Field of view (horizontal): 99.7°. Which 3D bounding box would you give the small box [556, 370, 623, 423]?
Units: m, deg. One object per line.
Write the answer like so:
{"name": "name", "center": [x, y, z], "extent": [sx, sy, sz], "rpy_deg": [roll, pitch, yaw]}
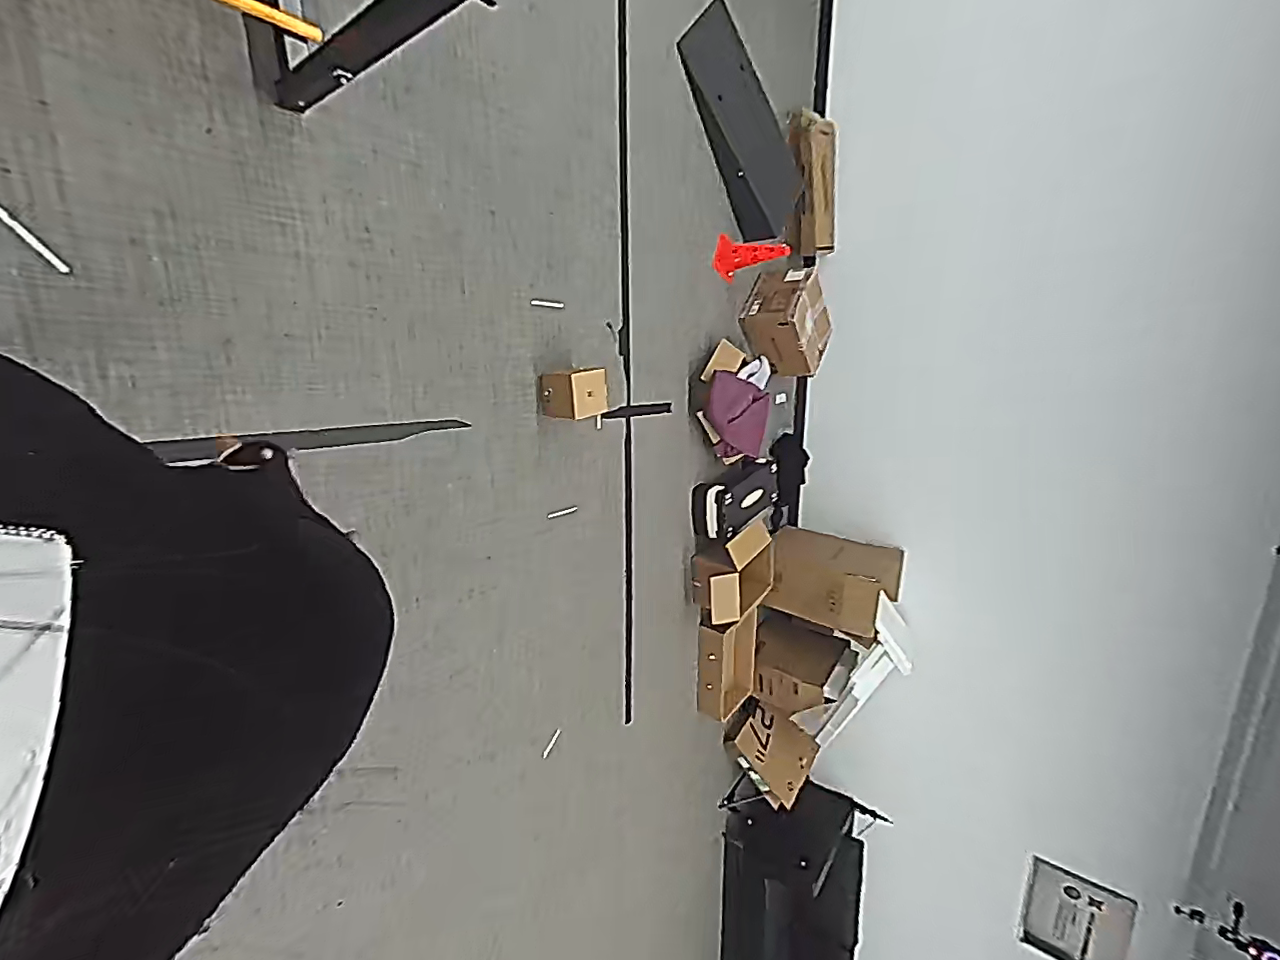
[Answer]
{"name": "small box", "center": [-0.184, -0.312, 1.989], "extent": [0.179, 0.176, 0.168], "rpy_deg": [-24, 117, -47]}
